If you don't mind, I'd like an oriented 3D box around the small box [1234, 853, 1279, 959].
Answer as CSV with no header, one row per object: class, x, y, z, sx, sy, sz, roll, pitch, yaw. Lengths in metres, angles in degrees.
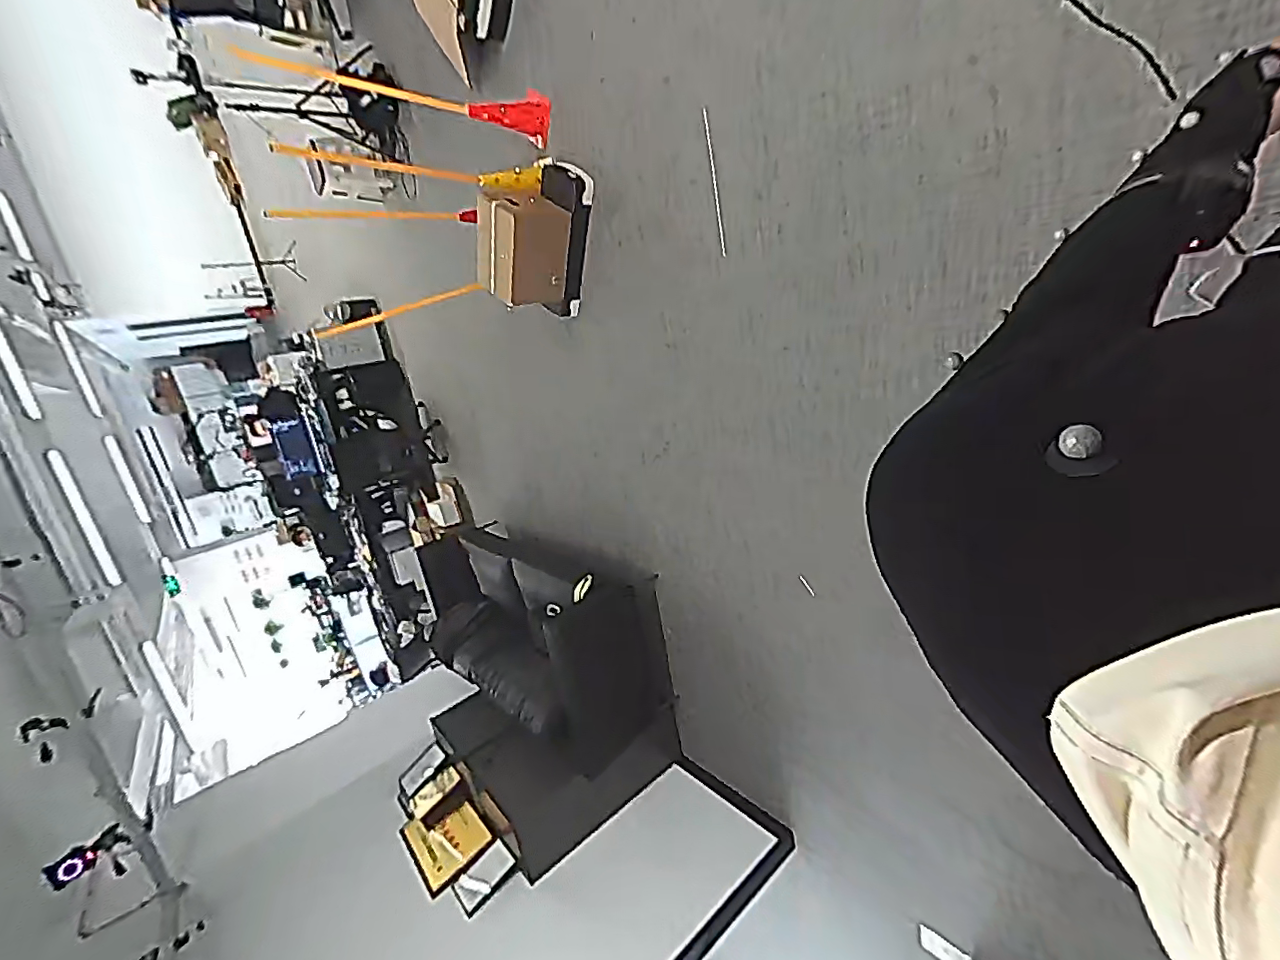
small box,0.841,0.607,0.646,0.168,0.176,0.179,12,118,51
